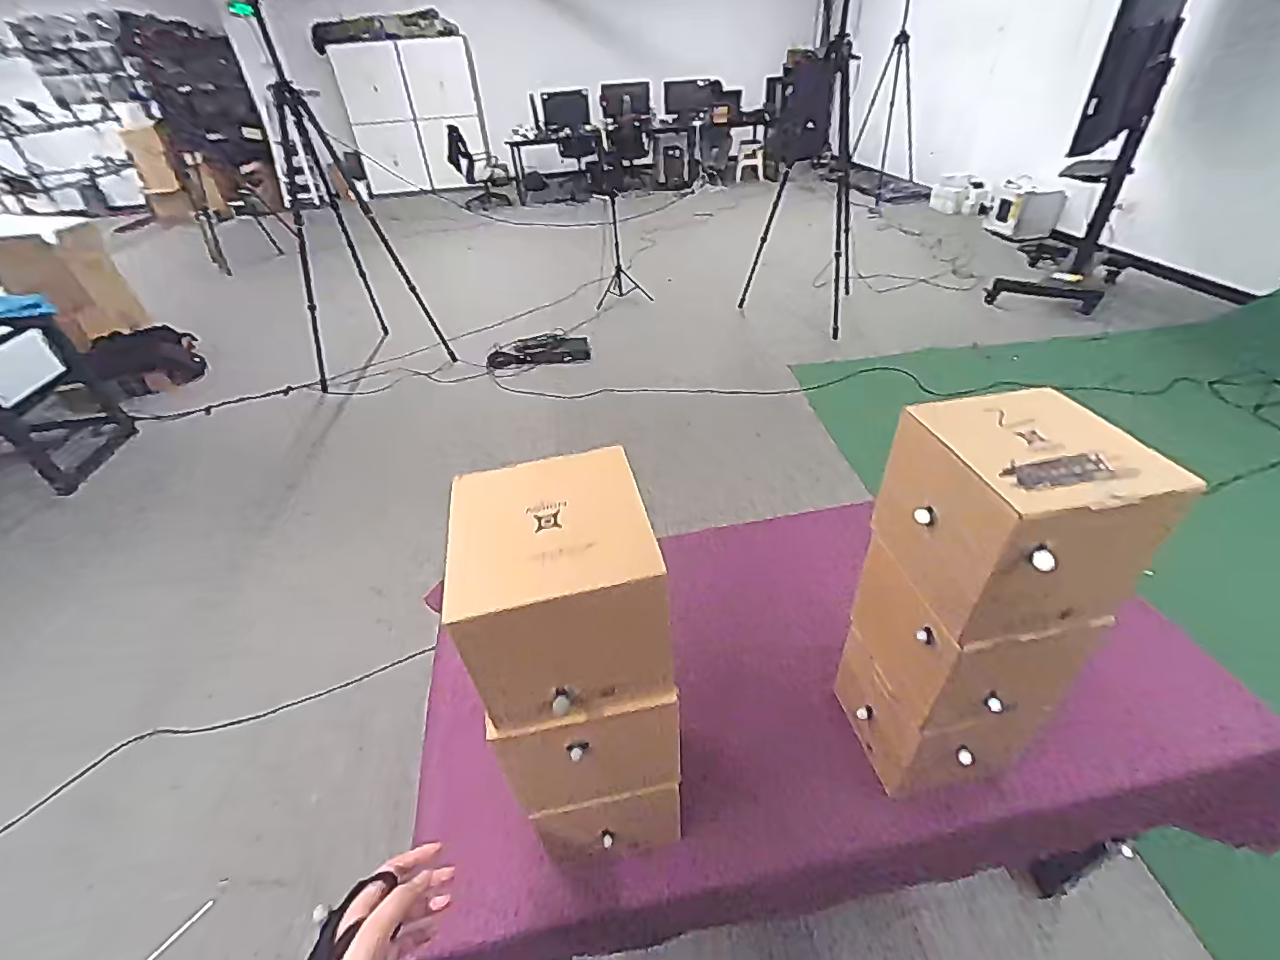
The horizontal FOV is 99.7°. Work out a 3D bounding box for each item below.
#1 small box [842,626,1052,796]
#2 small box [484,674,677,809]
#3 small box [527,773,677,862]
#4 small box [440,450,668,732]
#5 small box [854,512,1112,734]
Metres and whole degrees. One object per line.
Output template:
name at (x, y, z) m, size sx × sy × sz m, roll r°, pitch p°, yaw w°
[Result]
small box at (0.392, 0.297, 0.733) m, size 0.179 × 0.176 × 0.168 m, roll -10°, pitch 38°, yaw -6°
small box at (-0.061, 0.232, 0.596) m, size 0.179 × 0.176 × 0.168 m, roll -9°, pitch 38°, yaw -6°
small box at (-0.049, 0.362, 0.698) m, size 0.168 × 0.176 × 0.179 m, roll -9°, pitch 38°, yaw -6°
small box at (-0.074, 0.098, 0.504) m, size 0.168 × 0.176 × 0.179 m, roll -11°, pitch 39°, yaw -7°
small box at (0.377, 0.165, 0.639) m, size 0.168 × 0.176 × 0.179 m, roll -8°, pitch 38°, yaw -5°
